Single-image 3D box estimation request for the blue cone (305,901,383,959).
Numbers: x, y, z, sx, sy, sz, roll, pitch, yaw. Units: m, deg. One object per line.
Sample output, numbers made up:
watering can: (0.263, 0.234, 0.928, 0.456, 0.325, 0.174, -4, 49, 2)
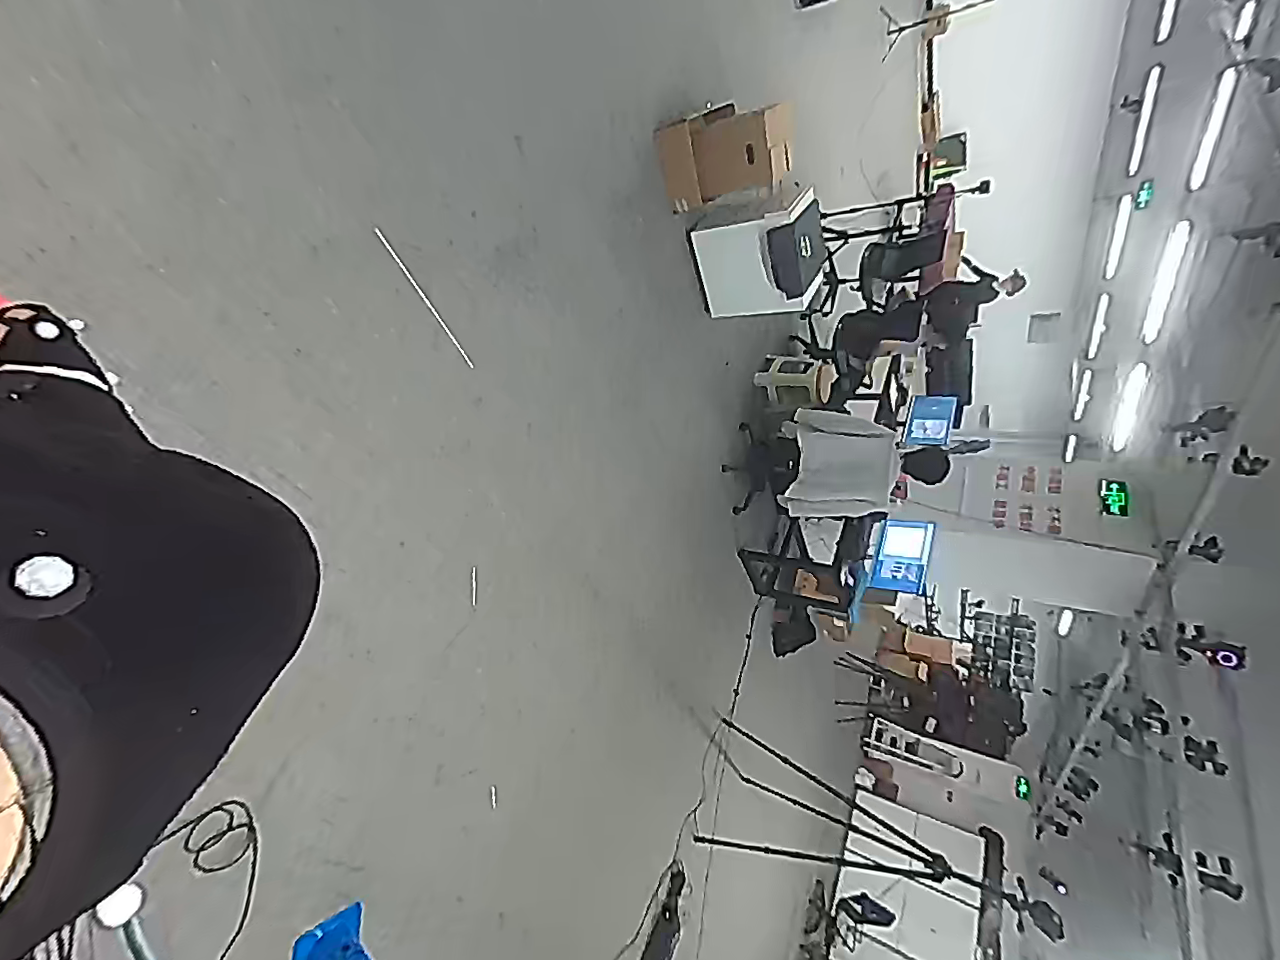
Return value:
blue cone: (-0.770, 1.413, 1.539, 0.193, 0.380, 0.192, 0, 95, -59)
